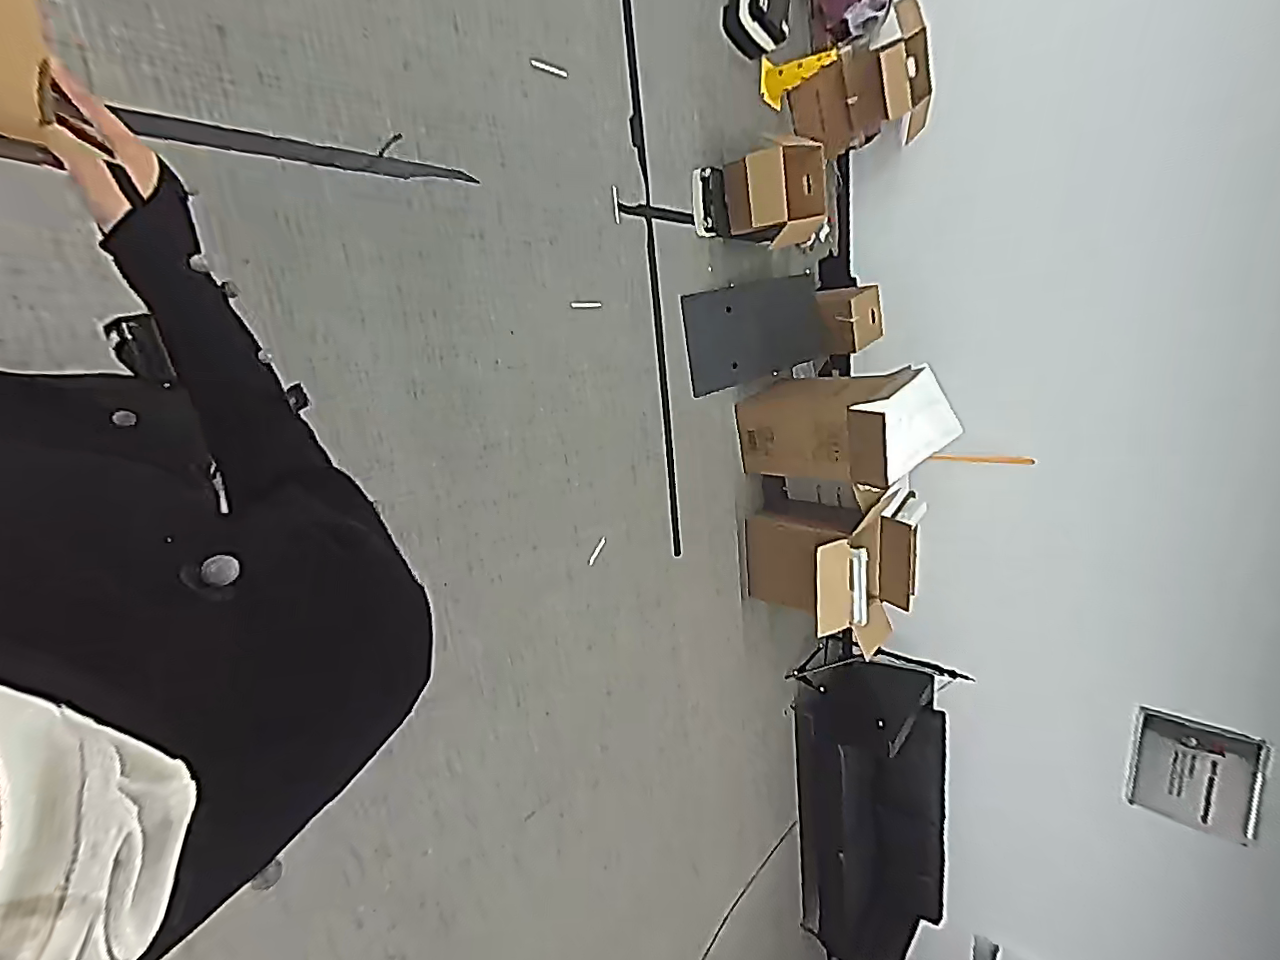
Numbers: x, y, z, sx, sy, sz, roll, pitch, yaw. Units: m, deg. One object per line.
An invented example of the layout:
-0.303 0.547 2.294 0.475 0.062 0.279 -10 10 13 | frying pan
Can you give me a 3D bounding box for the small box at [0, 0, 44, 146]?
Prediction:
-0.576 -0.370 0.393 0.168 0.176 0.179 -12 115 -48 | small box
